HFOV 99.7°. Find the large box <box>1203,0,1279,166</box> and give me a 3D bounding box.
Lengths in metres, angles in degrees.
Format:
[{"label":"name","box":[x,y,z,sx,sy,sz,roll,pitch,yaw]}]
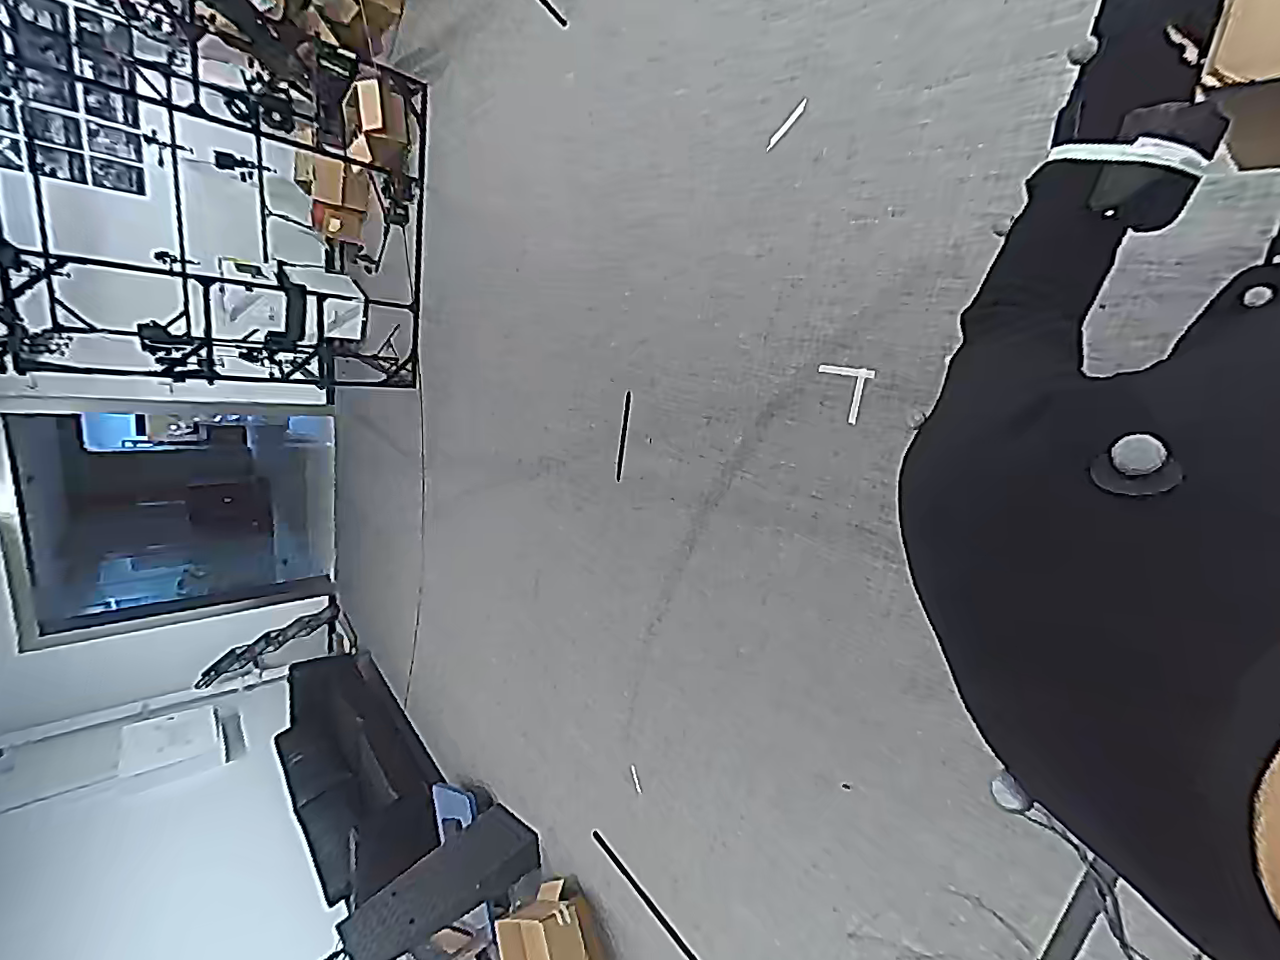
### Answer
[{"label":"large box","box":[0.611,-0.378,0.261,0.408,0.320,0.320,23,118,45]}]
